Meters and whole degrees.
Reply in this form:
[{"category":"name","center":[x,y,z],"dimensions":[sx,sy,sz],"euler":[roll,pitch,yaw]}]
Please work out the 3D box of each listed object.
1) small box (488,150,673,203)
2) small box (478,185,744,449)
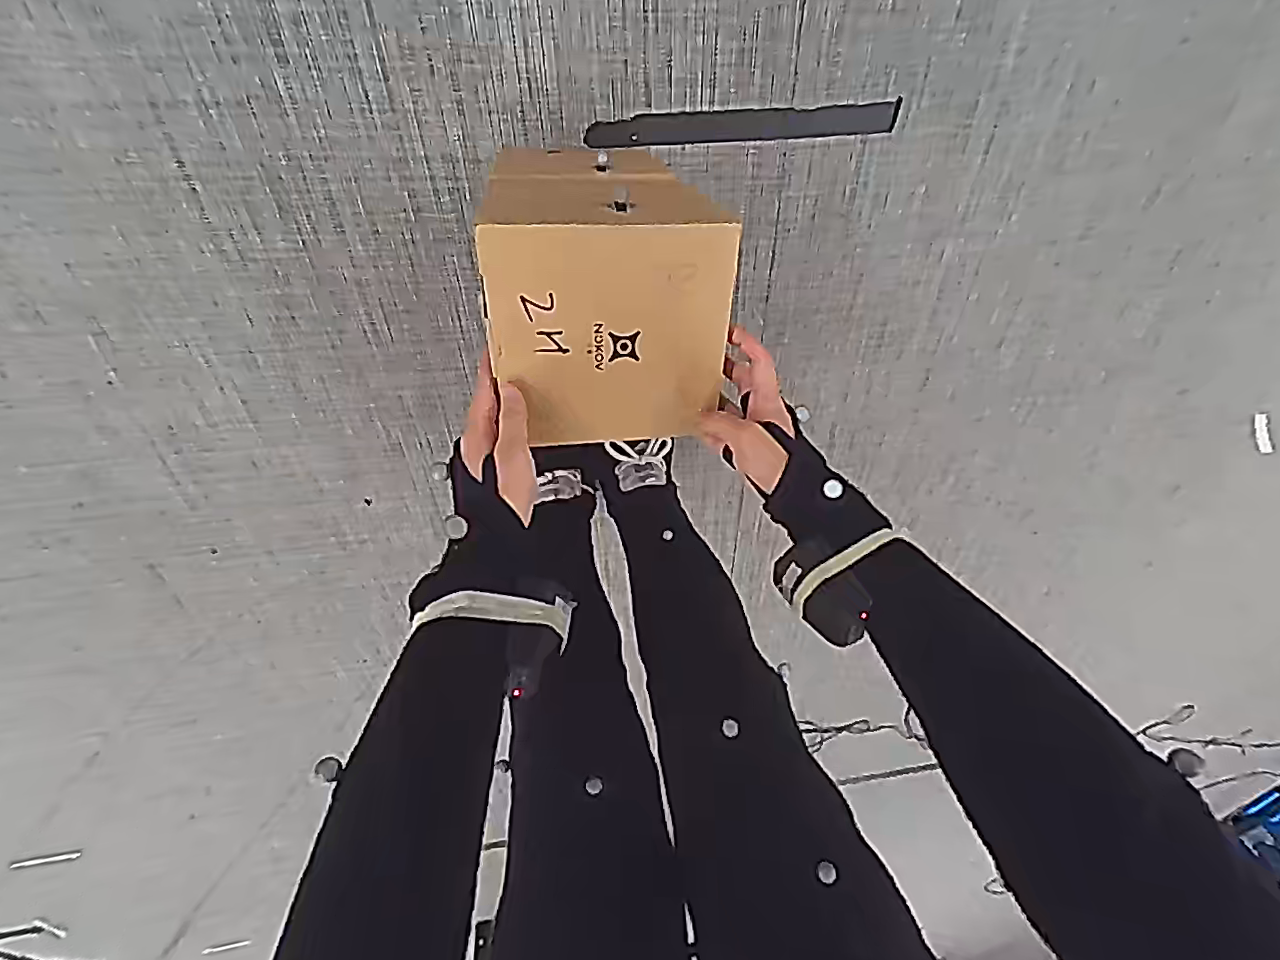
[{"category":"small box","center":[-0.063,-0.243,0.584],"dimensions":[0.168,0.176,0.179],"euler":[-5,128,-8]},{"category":"small box","center":[-0.032,-0.143,0.454],"dimensions":[0.179,0.176,0.168],"euler":[-4,127,-8]}]
